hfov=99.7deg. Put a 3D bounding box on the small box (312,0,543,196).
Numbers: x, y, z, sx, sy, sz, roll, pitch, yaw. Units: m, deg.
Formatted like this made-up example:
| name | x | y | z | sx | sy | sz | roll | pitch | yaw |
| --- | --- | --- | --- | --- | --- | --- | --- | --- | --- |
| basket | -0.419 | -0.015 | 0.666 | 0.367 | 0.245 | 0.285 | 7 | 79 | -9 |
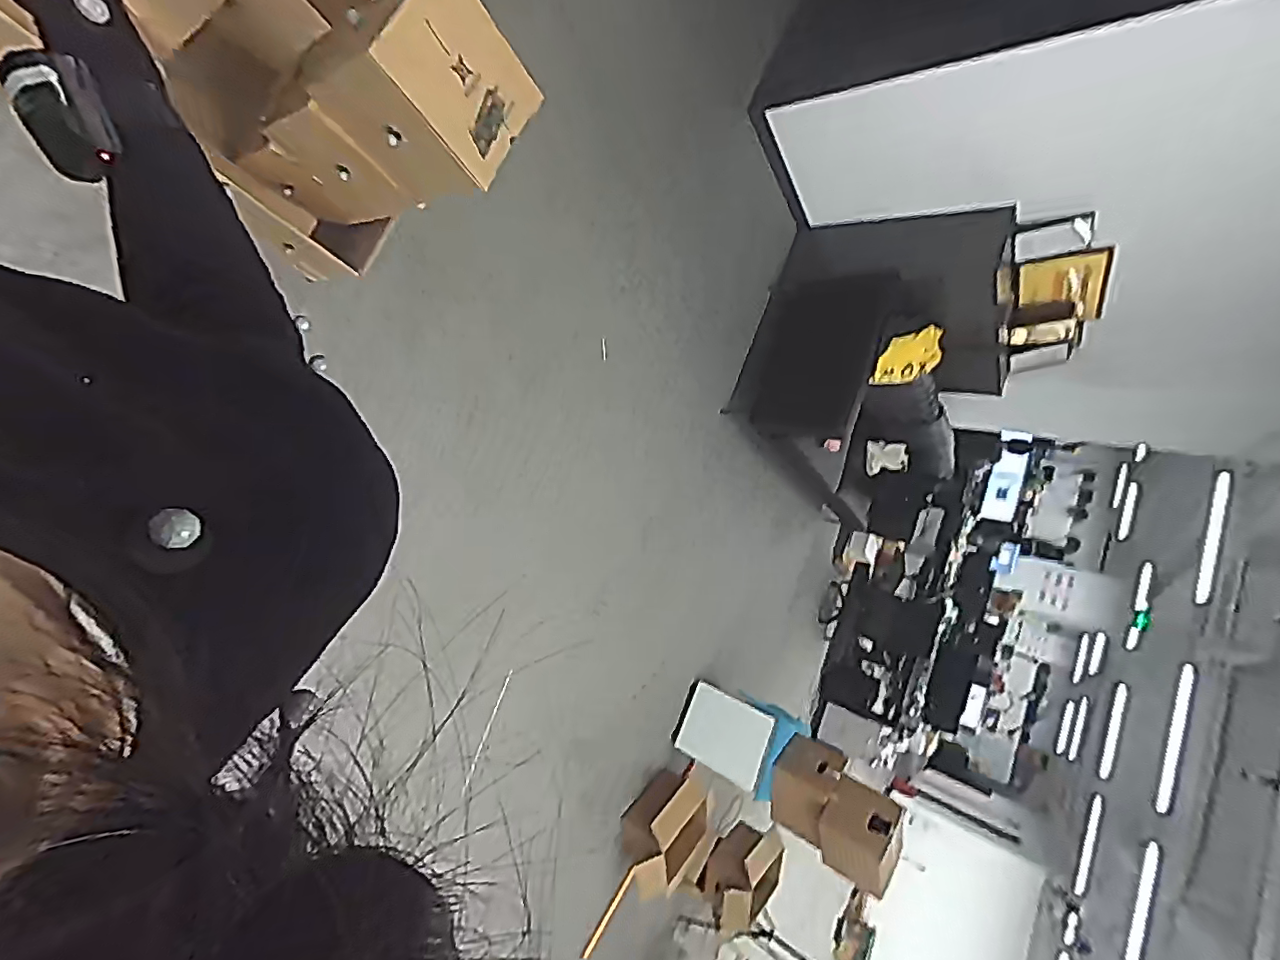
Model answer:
| name | x | y | z | sx | sy | sz | roll | pitch | yaw |
| --- | --- | --- | --- | --- | --- | --- | --- | --- | --- |
| small box | -0.265 | -0.488 | 0.686 | 0.179 | 0.176 | 0.168 | 42 | 69 | -49 |
